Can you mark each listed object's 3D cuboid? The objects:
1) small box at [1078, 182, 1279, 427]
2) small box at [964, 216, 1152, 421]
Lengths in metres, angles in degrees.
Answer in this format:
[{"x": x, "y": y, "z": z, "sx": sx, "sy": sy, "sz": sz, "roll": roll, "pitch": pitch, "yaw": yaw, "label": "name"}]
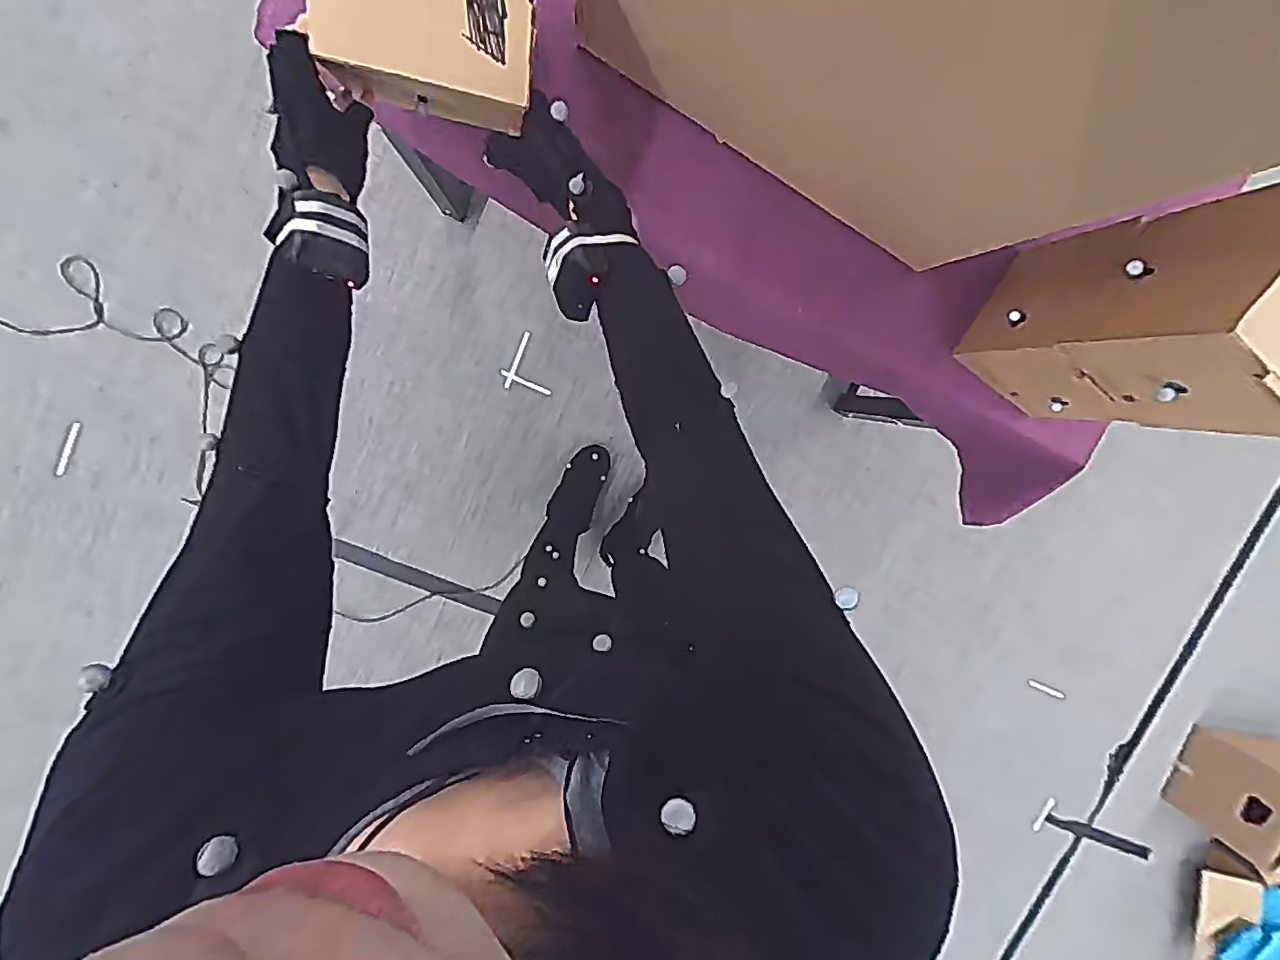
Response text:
[{"x": 0.598, "y": -0.165, "z": 0.542, "sx": 0.168, "sy": 0.176, "sz": 0.179, "roll": 36, "pitch": 94, "yaw": -13, "label": "small box"}, {"x": 0.567, "y": -0.195, "z": 0.702, "sx": 0.168, "sy": 0.176, "sz": 0.179, "roll": 32, "pitch": 93, "yaw": -13, "label": "small box"}]
